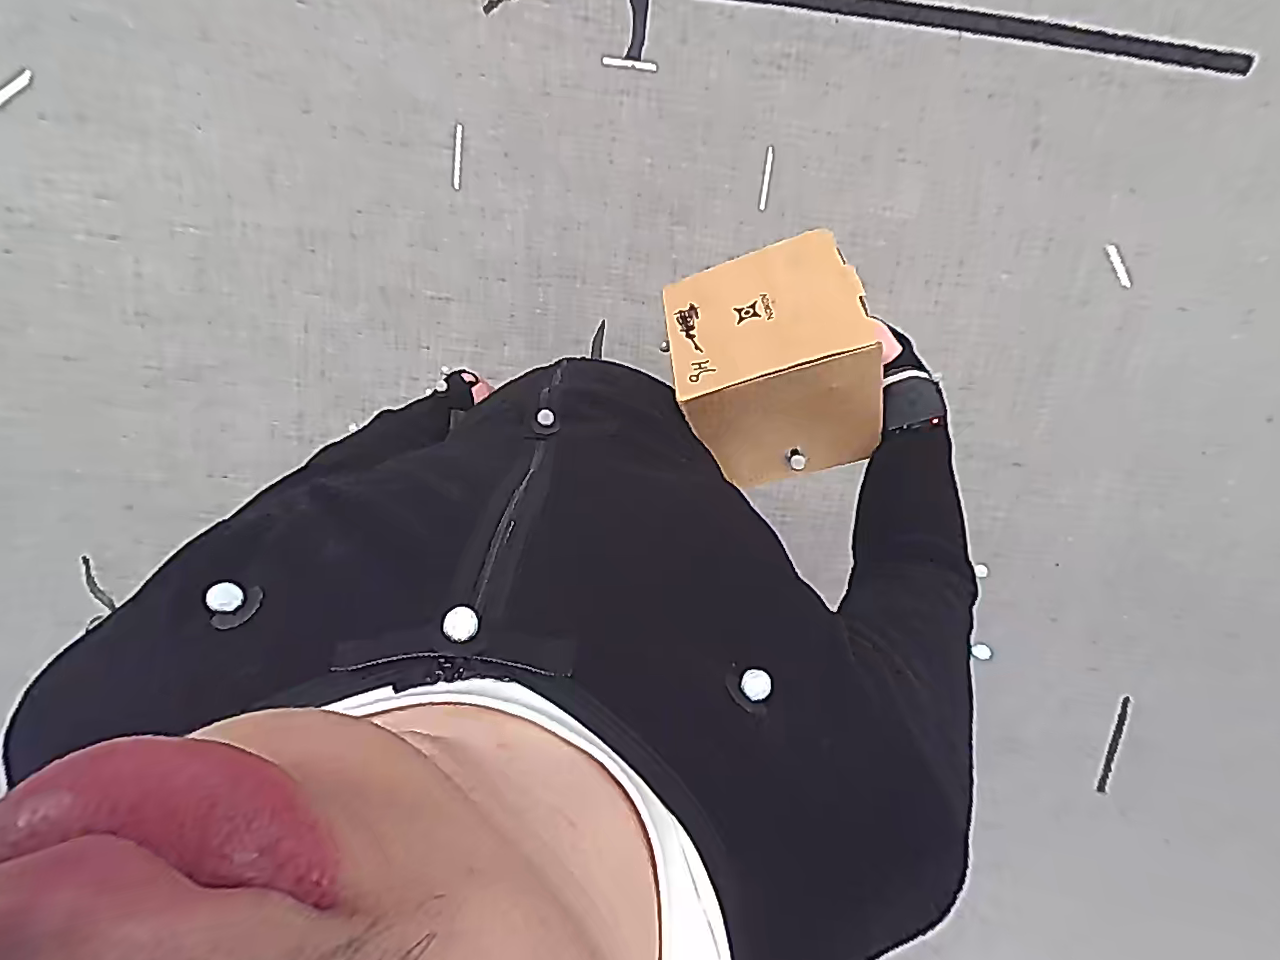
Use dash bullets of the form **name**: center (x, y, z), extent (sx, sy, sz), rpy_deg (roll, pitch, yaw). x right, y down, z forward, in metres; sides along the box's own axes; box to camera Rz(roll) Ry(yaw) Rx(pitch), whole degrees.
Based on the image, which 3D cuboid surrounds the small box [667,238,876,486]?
- **small box**: center (0.141, -0.117, 0.585), extent (0.179, 0.168, 0.176), rpy_deg (-15, 143, 14)
